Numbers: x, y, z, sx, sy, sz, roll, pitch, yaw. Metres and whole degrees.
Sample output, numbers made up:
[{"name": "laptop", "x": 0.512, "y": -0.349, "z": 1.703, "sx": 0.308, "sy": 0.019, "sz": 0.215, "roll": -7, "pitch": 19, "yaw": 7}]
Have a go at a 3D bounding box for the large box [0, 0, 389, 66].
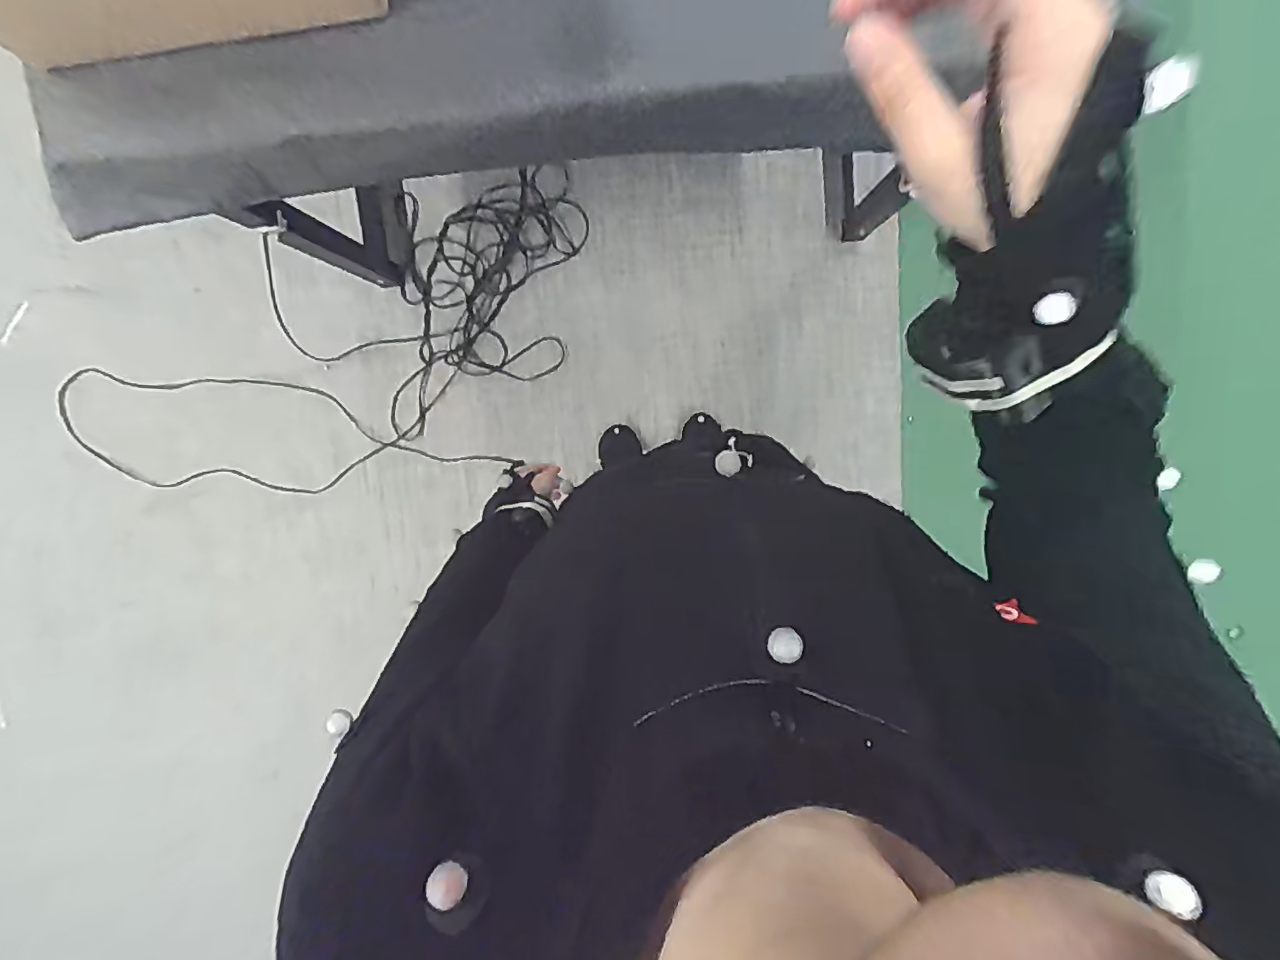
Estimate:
[{"name": "large box", "x": -0.484, "y": -0.610, "z": 0.424, "sx": 0.408, "sy": 0.320, "sz": 0.320, "roll": -8, "pitch": 97, "yaw": 1}]
